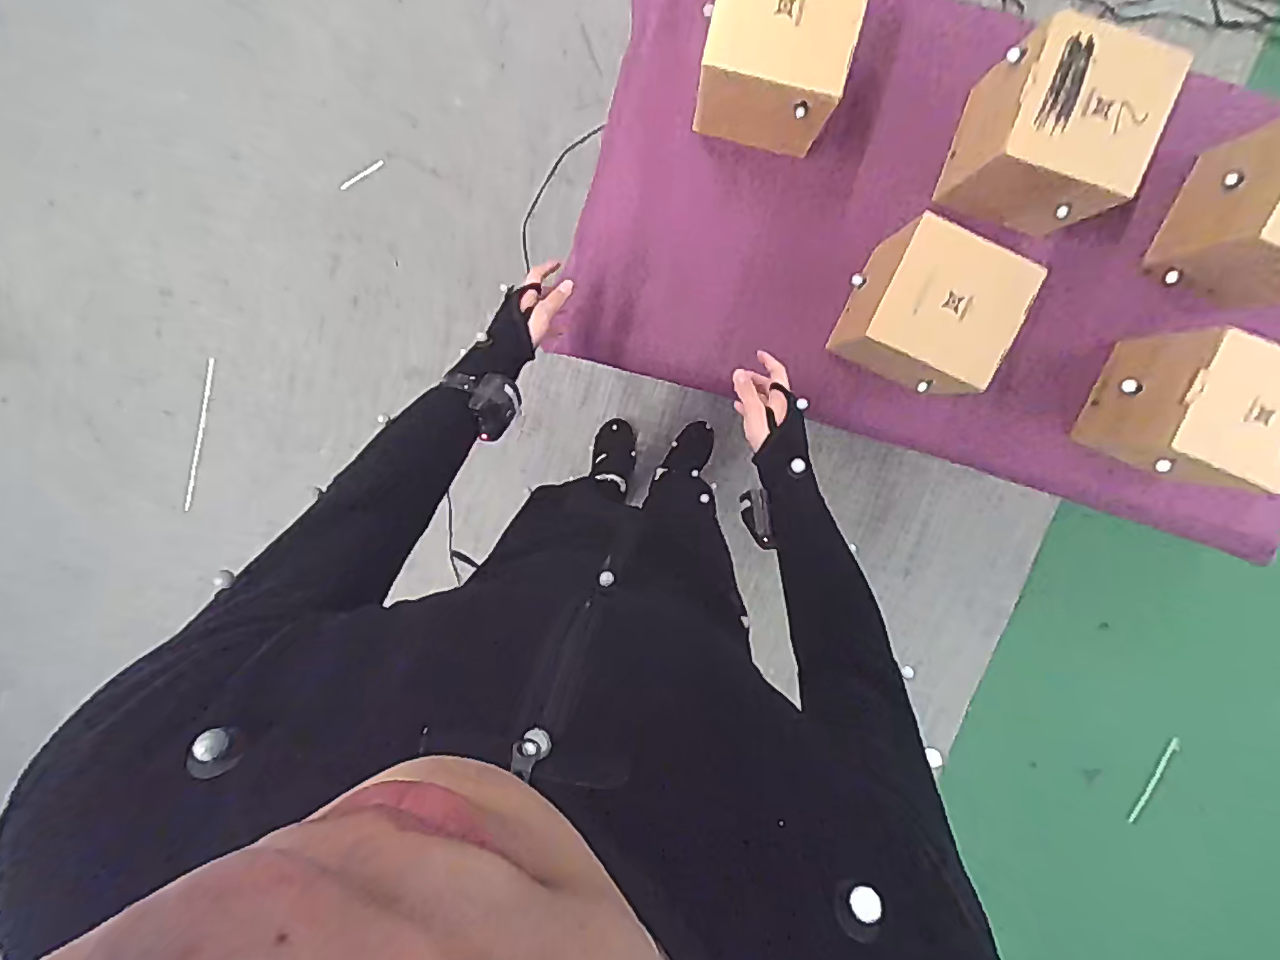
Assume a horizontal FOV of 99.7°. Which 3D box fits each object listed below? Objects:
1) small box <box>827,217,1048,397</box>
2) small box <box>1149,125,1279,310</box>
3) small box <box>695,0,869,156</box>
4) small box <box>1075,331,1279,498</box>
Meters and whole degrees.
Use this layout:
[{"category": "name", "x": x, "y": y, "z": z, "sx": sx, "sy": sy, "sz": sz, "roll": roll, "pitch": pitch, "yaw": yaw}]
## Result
[{"category": "small box", "x": 0.397, "y": -0.227, "z": 0.755, "sx": 0.179, "sy": 0.176, "sz": 0.168, "roll": 25, "pitch": 97, "yaw": -2}, {"category": "small box", "x": 0.858, "y": -0.348, "z": 0.728, "sx": 0.168, "sy": 0.176, "sz": 0.179, "roll": 23, "pitch": 98, "yaw": -2}, {"category": "small box", "x": 0.177, "y": -0.560, "z": 0.710, "sx": 0.179, "sy": 0.176, "sz": 0.168, "roll": 13, "pitch": 99, "yaw": -2}, {"category": "small box", "x": 0.783, "y": -0.090, "z": 0.767, "sx": 0.179, "sy": 0.176, "sz": 0.168, "roll": 22, "pitch": 97, "yaw": -1}]
